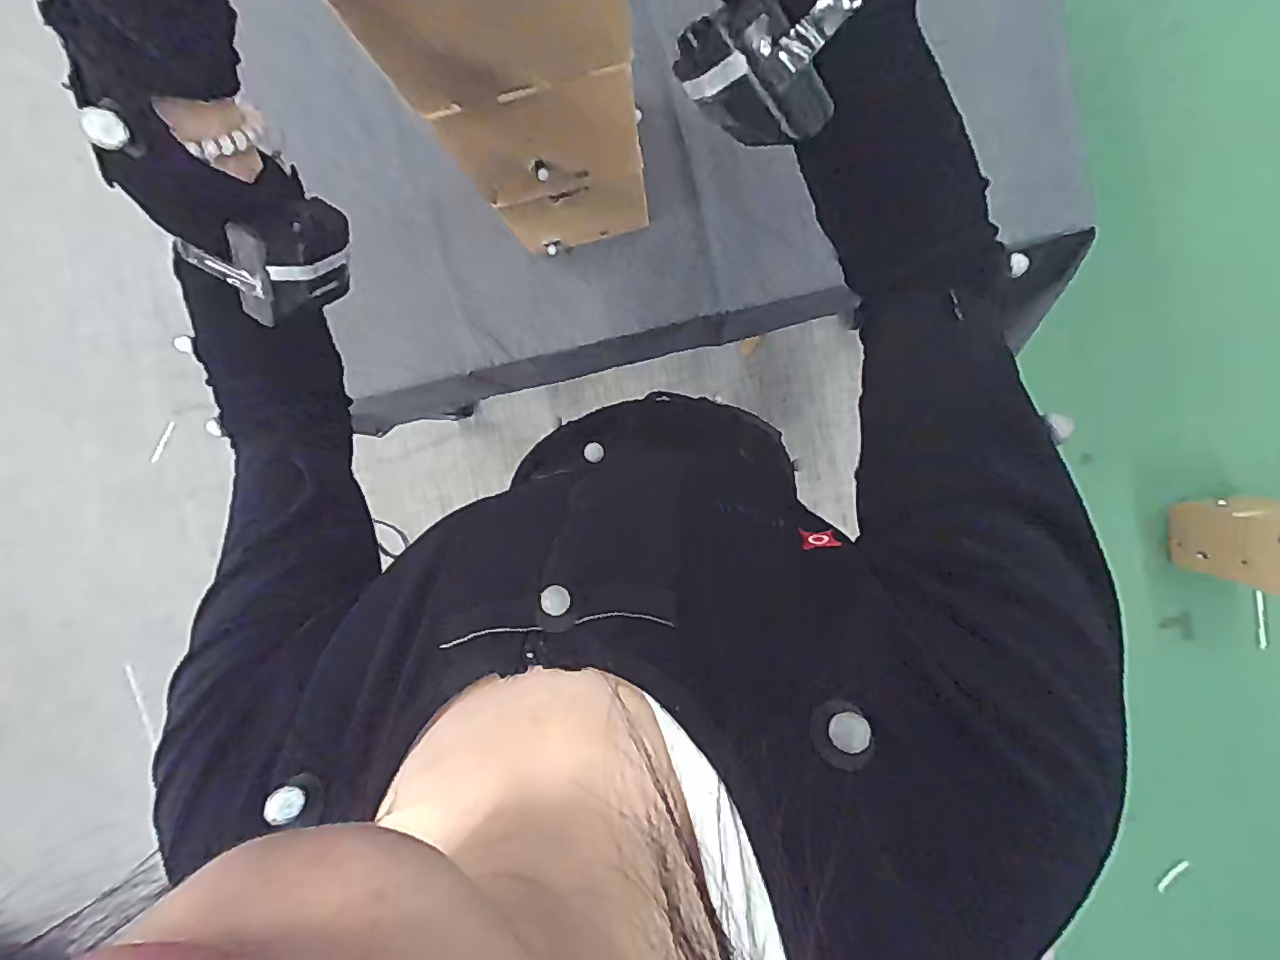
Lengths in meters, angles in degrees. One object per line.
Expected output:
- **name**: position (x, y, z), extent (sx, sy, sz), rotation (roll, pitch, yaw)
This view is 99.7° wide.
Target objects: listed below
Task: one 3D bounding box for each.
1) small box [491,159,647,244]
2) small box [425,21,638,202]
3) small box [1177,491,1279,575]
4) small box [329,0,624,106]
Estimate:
- **small box**: position (-0.090, -0.406, 0.653), extent (0.168, 0.176, 0.179), rotation (-13, 93, 5)
- **small box**: position (-0.101, -0.391, 0.492), extent (0.168, 0.176, 0.179), rotation (-12, 94, 5)
- **small box**: position (1.471, 0.124, 1.320), extent (0.179, 0.176, 0.168), rotation (-7, 95, 5)
- **small box**: position (-0.109, -0.374, 0.329), extent (0.179, 0.176, 0.168), rotation (-11, 94, 5)
